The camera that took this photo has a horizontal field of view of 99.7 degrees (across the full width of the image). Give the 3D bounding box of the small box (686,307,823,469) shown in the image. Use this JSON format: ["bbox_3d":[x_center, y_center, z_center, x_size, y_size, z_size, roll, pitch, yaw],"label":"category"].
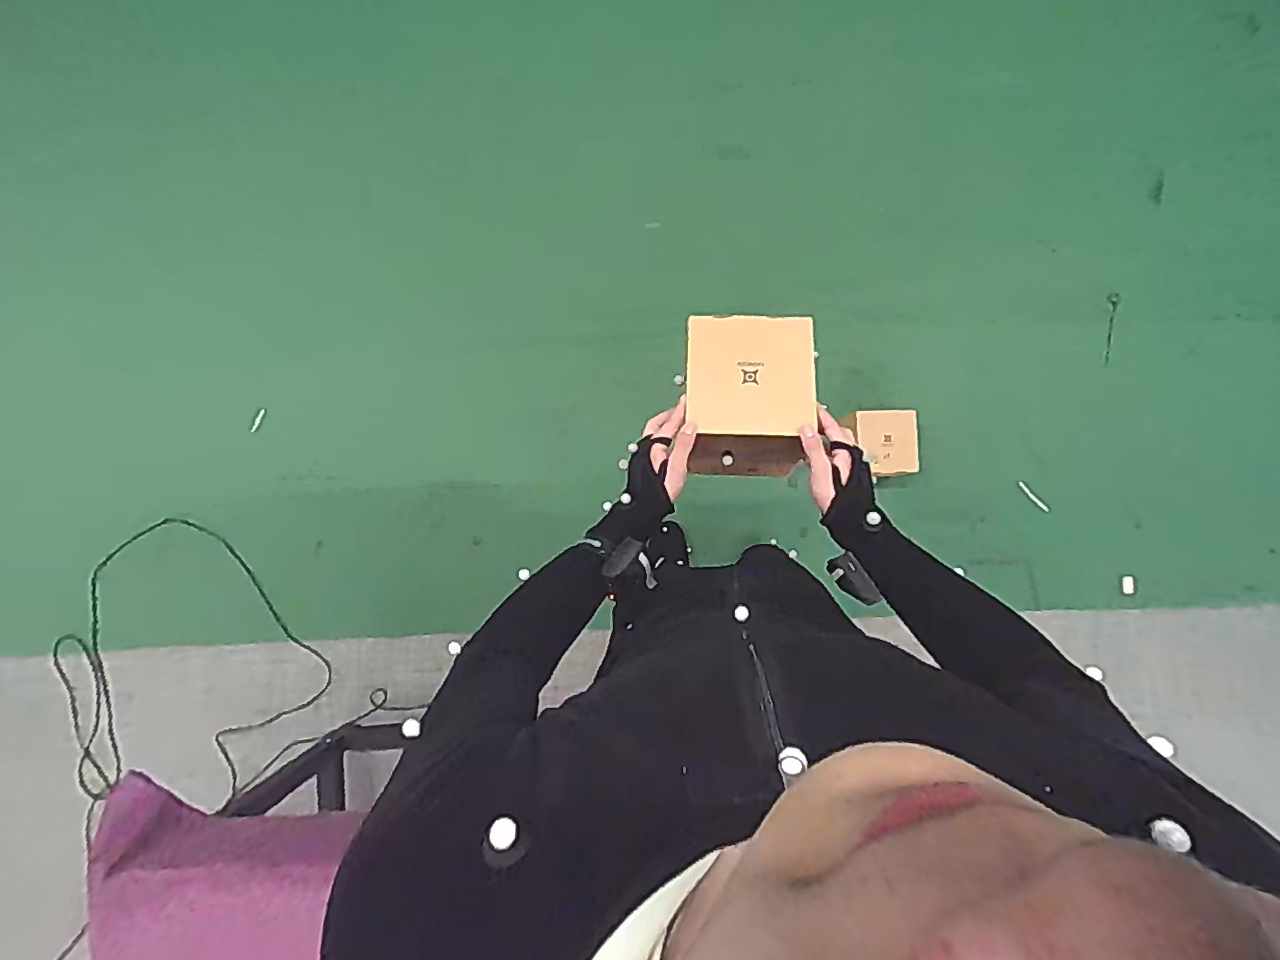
[{"bbox_3d":[0.152,-0.121,0.761,0.168,0.176,0.179,2,73,3],"label":"small box"}]

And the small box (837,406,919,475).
[{"bbox_3d":[0.678,-0.109,1.555,0.168,0.176,0.179,-1,87,1],"label":"small box"}]
